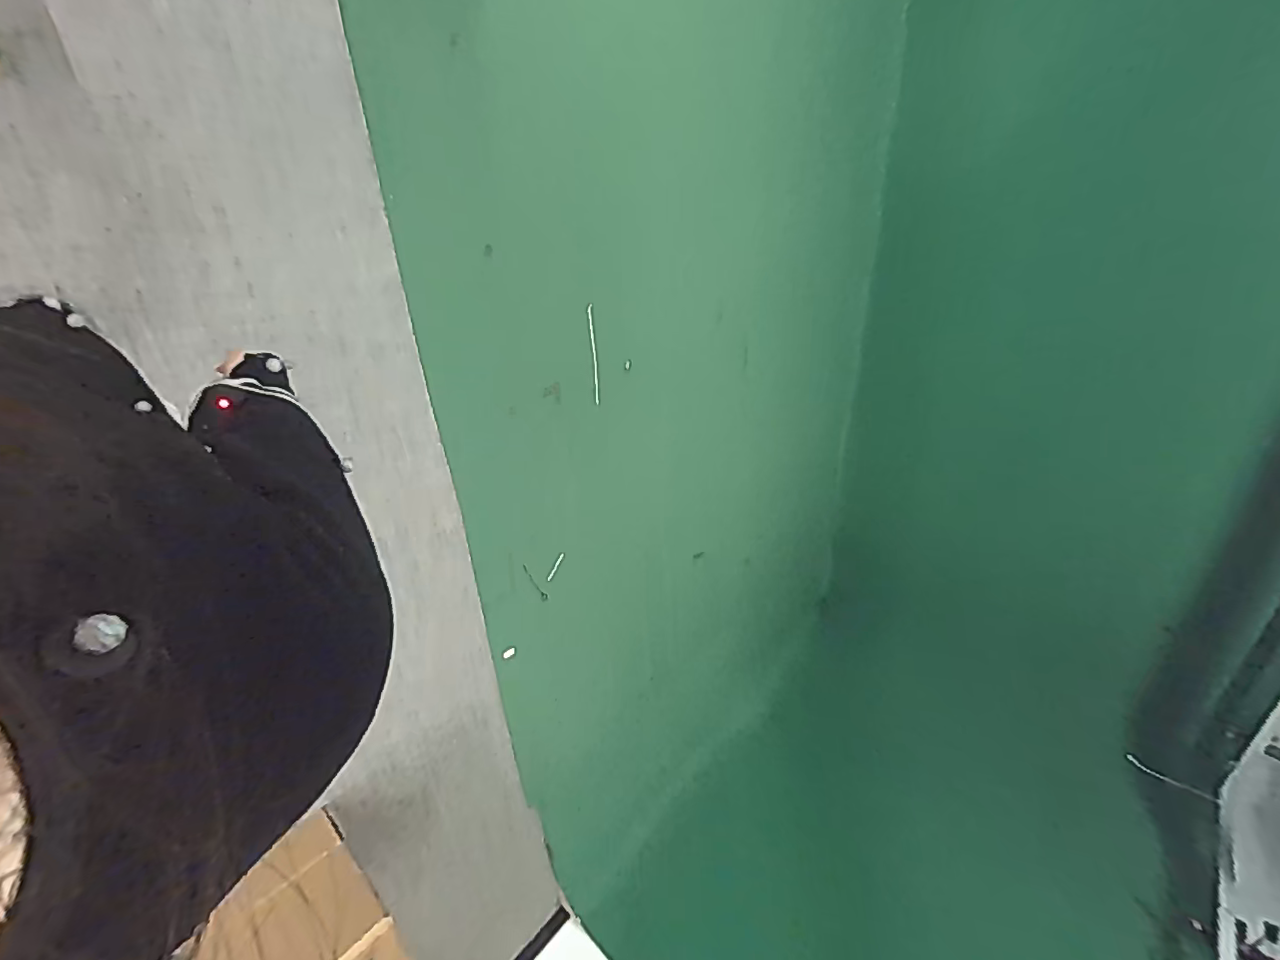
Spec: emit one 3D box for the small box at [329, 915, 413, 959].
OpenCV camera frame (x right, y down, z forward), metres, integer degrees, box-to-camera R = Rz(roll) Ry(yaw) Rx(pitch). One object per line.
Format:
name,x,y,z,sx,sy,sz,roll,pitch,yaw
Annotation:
small box,-0.681,1.293,1.400,0.168,0.176,0.179,-27,125,-38
